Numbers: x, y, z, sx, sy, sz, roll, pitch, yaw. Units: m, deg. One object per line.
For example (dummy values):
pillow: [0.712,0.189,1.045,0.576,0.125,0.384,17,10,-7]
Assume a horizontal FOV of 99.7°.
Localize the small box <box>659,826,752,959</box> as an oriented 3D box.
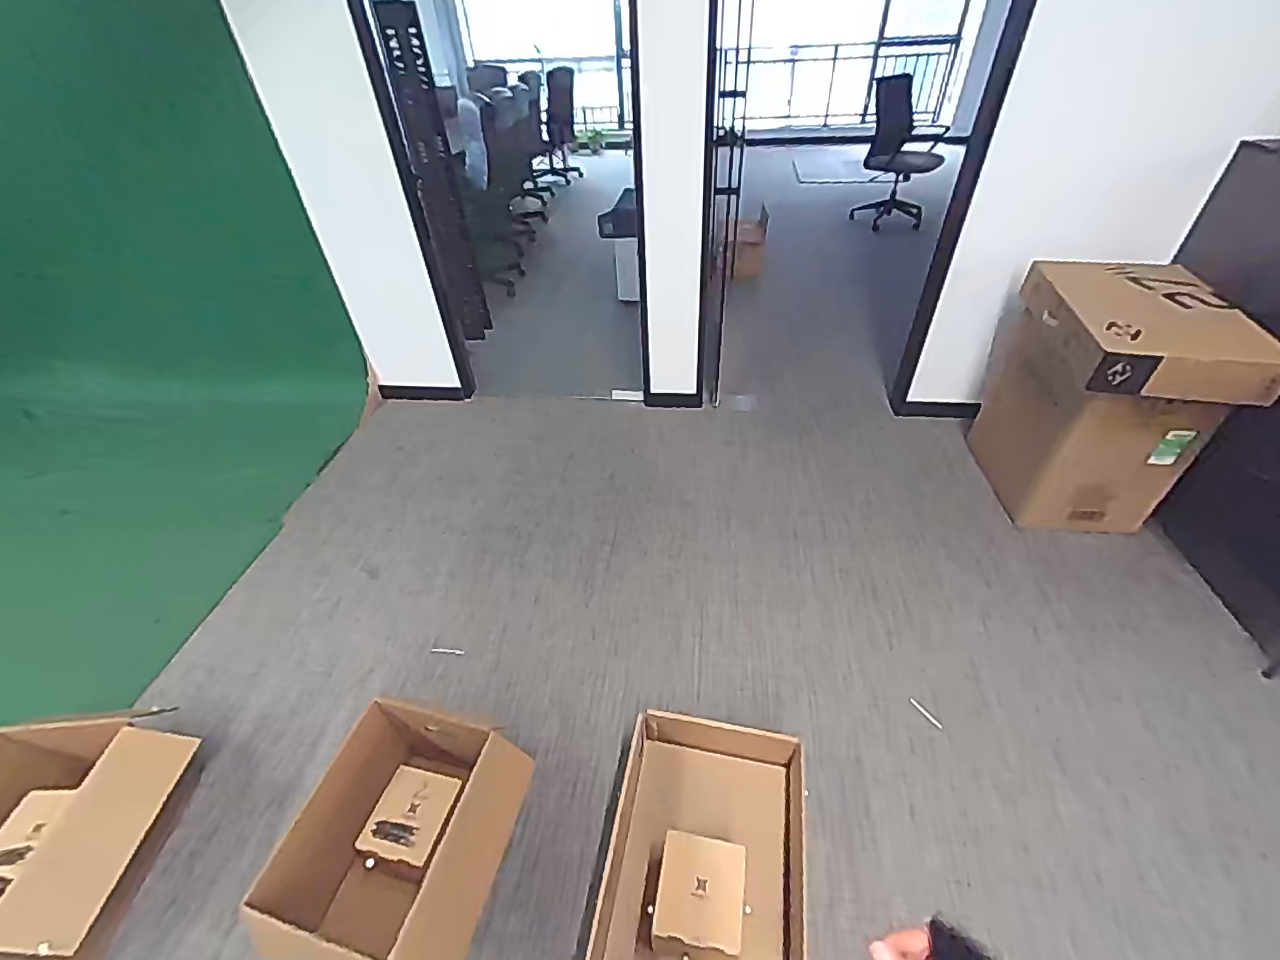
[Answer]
small box: [0.131,0.845,1.099,0.168,0.176,0.179,6,41,10]
